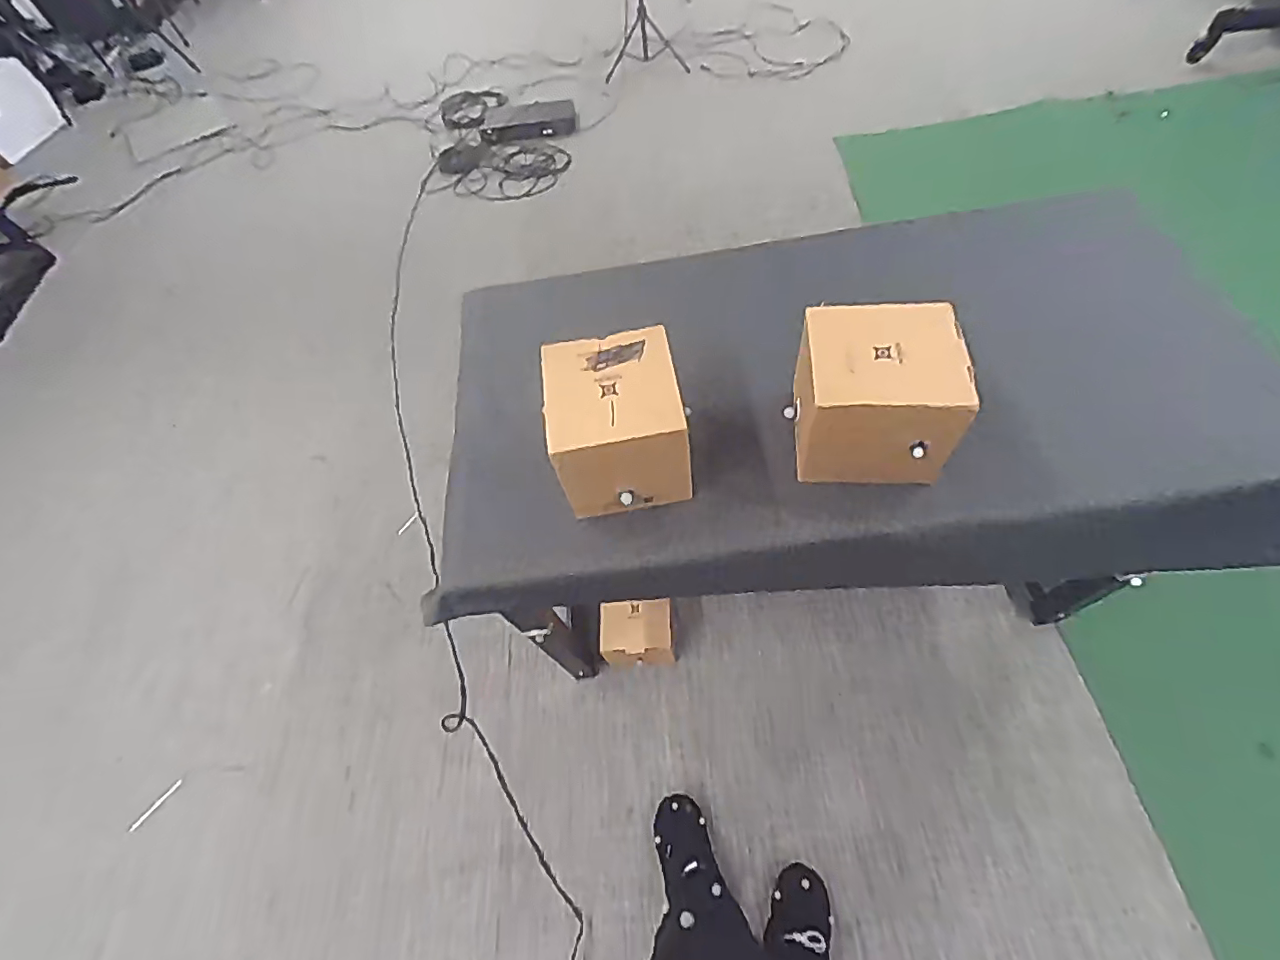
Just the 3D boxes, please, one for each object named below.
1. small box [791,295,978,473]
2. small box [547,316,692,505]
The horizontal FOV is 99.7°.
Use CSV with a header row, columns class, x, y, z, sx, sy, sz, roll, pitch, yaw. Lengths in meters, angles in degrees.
class,x,y,z,sx,sy,sz,roll,pitch,yaw
small box,0.303,-0.120,0.712,0.179,0.176,0.168,0,59,9
small box,-0.025,-0.089,0.733,0.168,0.176,0.179,-10,59,2
